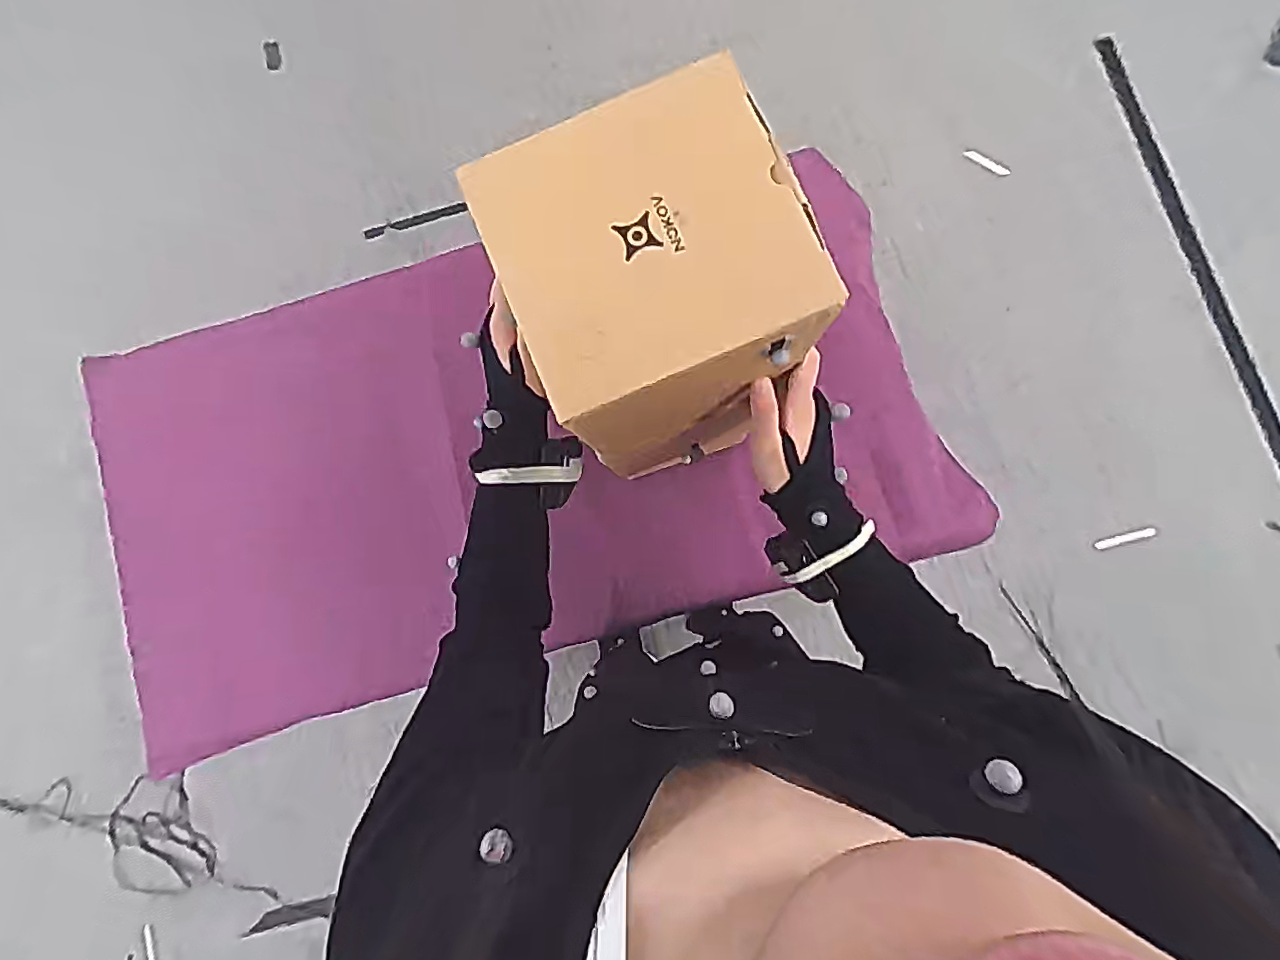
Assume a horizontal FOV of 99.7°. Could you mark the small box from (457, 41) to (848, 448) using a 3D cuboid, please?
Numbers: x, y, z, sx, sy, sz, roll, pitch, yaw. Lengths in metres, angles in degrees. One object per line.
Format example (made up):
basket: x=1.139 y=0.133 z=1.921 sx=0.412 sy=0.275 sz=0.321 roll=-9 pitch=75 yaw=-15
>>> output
small box: x=0.008 y=-0.135 z=0.379 sx=0.179 sy=0.176 sz=0.168 roll=-24 pitch=84 yaw=0

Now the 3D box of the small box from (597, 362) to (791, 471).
small box: x=0.027 y=-0.118 z=0.546 sx=0.179 sy=0.176 sz=0.168 roll=-22 pitch=83 yaw=4
